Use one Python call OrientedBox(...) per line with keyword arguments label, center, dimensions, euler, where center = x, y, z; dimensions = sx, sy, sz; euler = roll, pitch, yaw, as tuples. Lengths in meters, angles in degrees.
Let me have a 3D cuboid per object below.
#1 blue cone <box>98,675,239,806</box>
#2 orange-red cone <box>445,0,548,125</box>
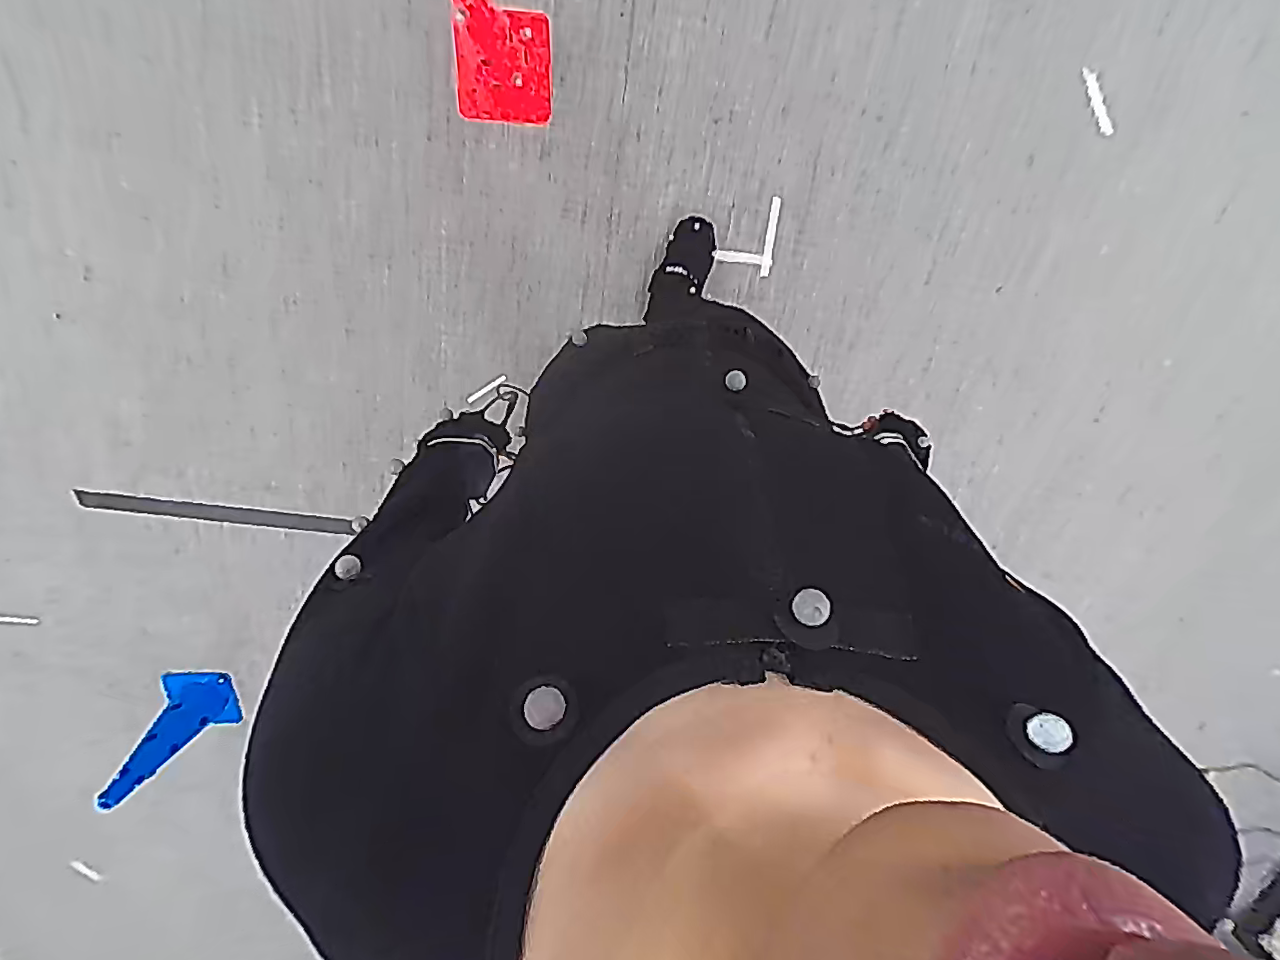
OrientedBox(label="blue cone", center=(-1.349, 0.744, 1.528), dimensions=(0.193, 0.380, 0.192), euler=(2, 111, -4))
OrientedBox(label="orange-red cone", center=(-0.288, -0.805, 0.975), dimensions=(0.199, 0.360, 0.198), euler=(3, 111, -3))
